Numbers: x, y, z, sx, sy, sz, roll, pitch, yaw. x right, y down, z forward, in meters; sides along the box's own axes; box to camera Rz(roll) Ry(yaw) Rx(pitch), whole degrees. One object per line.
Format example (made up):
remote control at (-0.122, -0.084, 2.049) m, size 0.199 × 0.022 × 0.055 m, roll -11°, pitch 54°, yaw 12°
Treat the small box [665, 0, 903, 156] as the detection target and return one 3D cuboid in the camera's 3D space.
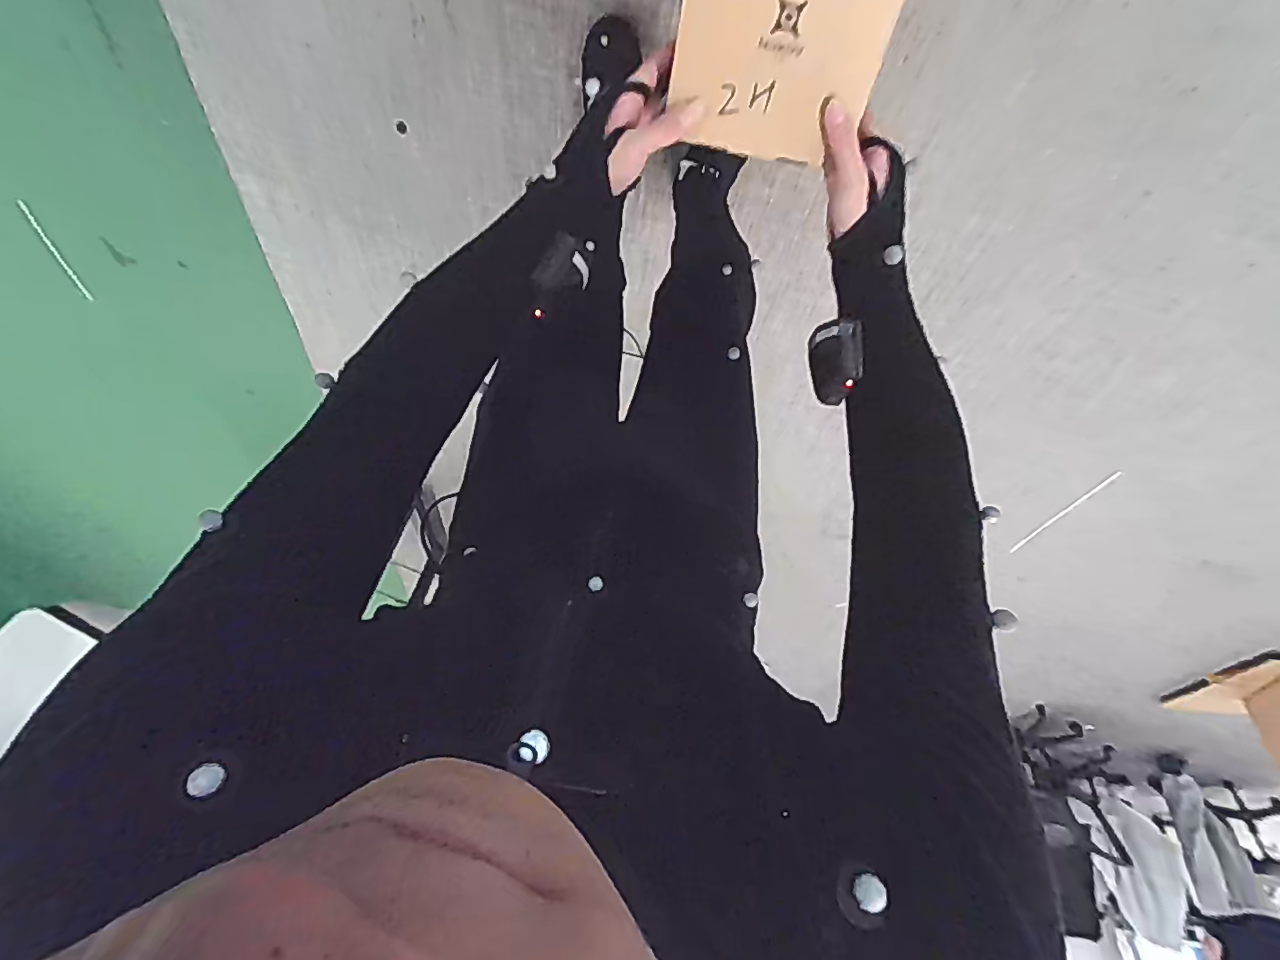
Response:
small box at (0.120, -0.413, 0.467) m, size 0.168 × 0.176 × 0.179 m, roll 11°, pitch 134°, yaw -1°
